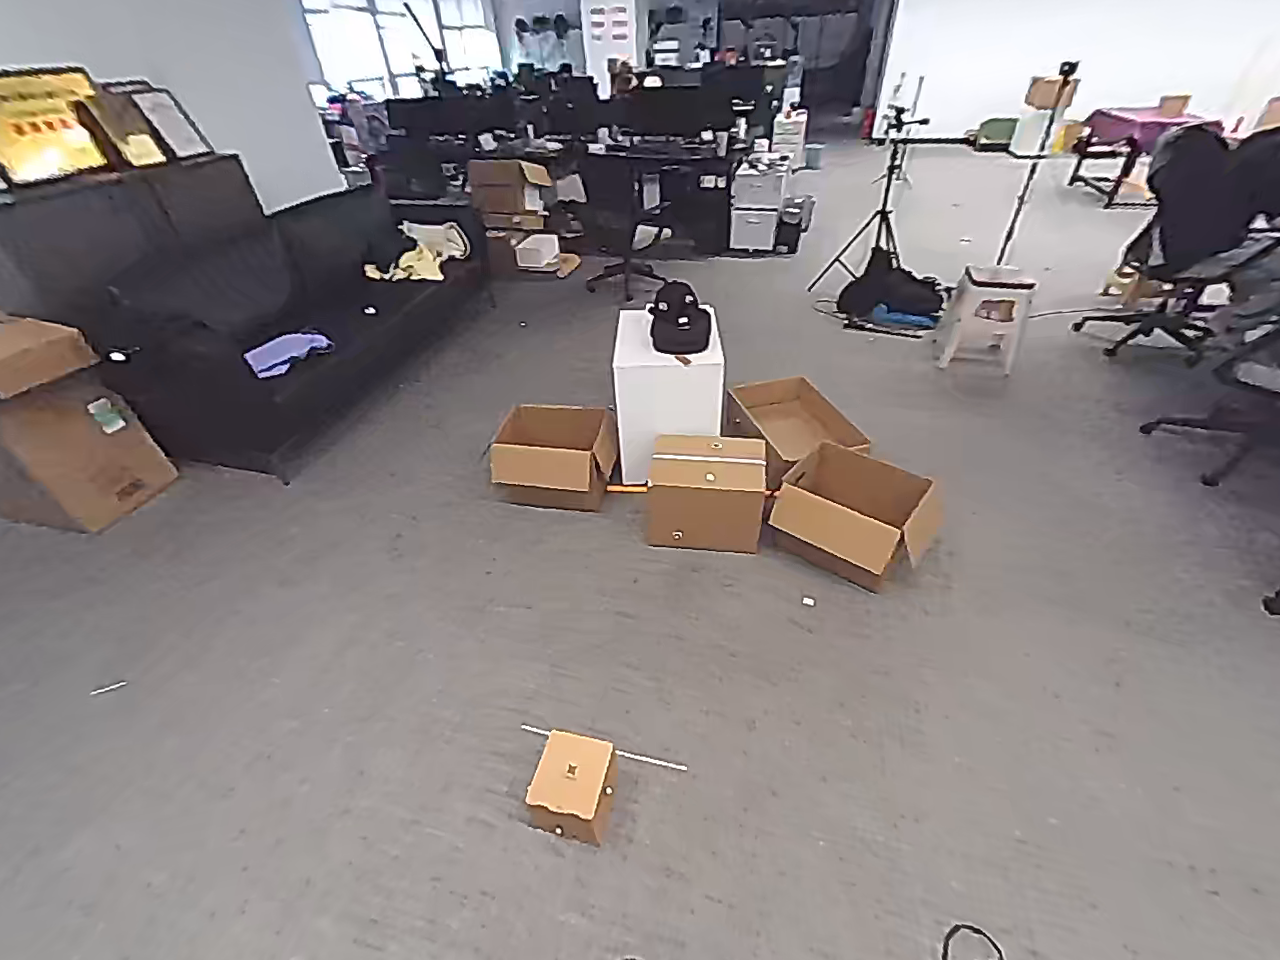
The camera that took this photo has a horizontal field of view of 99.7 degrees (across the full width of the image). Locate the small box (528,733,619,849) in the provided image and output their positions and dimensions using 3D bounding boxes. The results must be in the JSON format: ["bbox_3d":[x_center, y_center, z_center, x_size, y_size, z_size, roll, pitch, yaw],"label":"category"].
[{"bbox_3d":[-0.152,0.757,1.319,0.168,0.176,0.179,7,41,13],"label":"small box"}]
